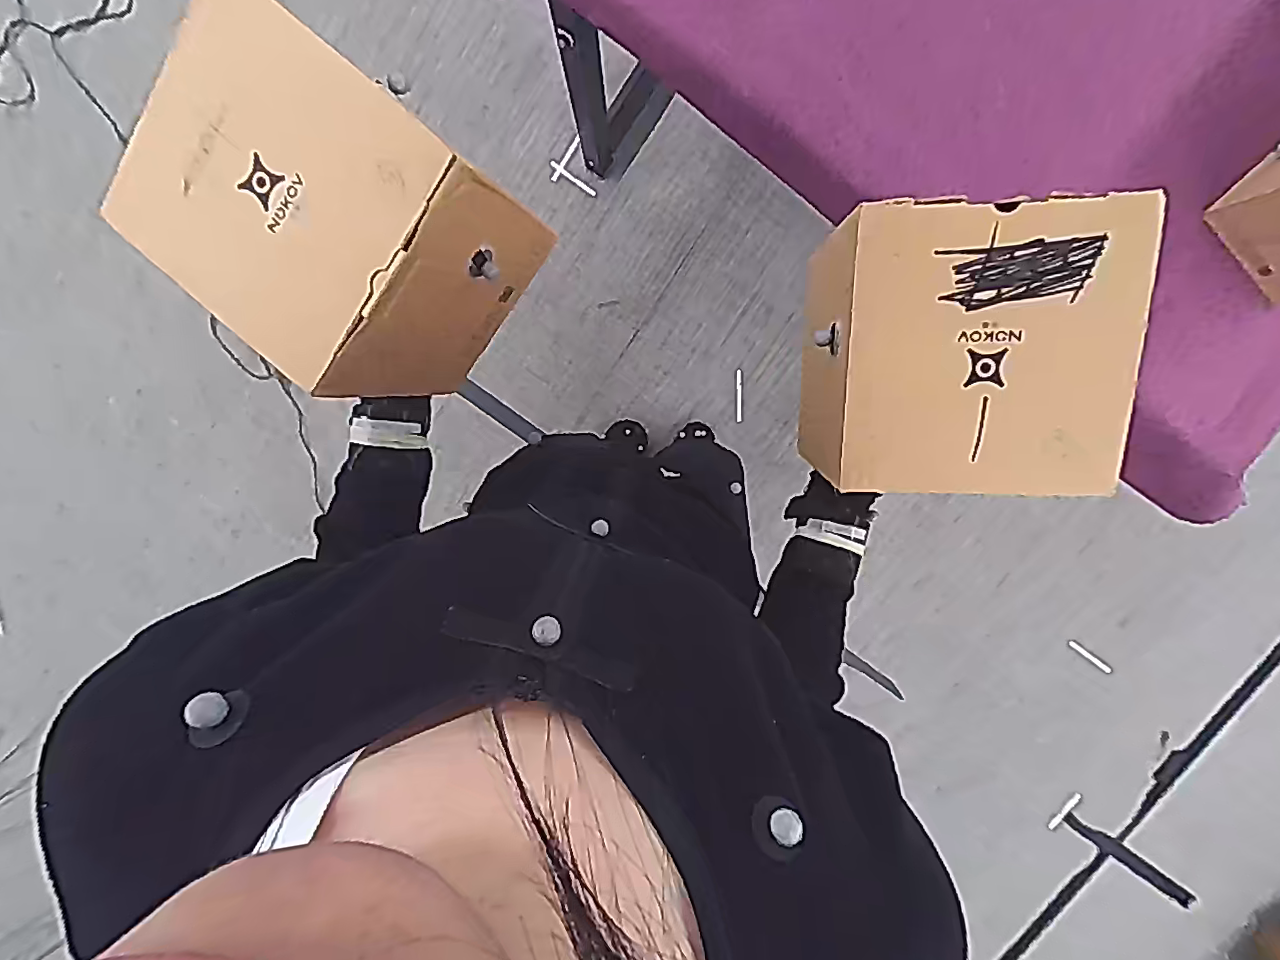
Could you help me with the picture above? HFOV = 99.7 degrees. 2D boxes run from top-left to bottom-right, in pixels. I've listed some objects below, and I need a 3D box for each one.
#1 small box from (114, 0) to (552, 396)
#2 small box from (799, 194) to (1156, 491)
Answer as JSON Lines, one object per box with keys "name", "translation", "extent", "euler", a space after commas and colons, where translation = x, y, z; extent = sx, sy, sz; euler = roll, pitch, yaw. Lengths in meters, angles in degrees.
{"name": "small box", "translation": [-0.192, -0.179, 0.386], "extent": [0.179, 0.176, 0.168], "euler": [40, 103, 2]}
{"name": "small box", "translation": [0.220, -0.096, 0.409], "extent": [0.168, 0.176, 0.179], "euler": [1, 103, 6]}
